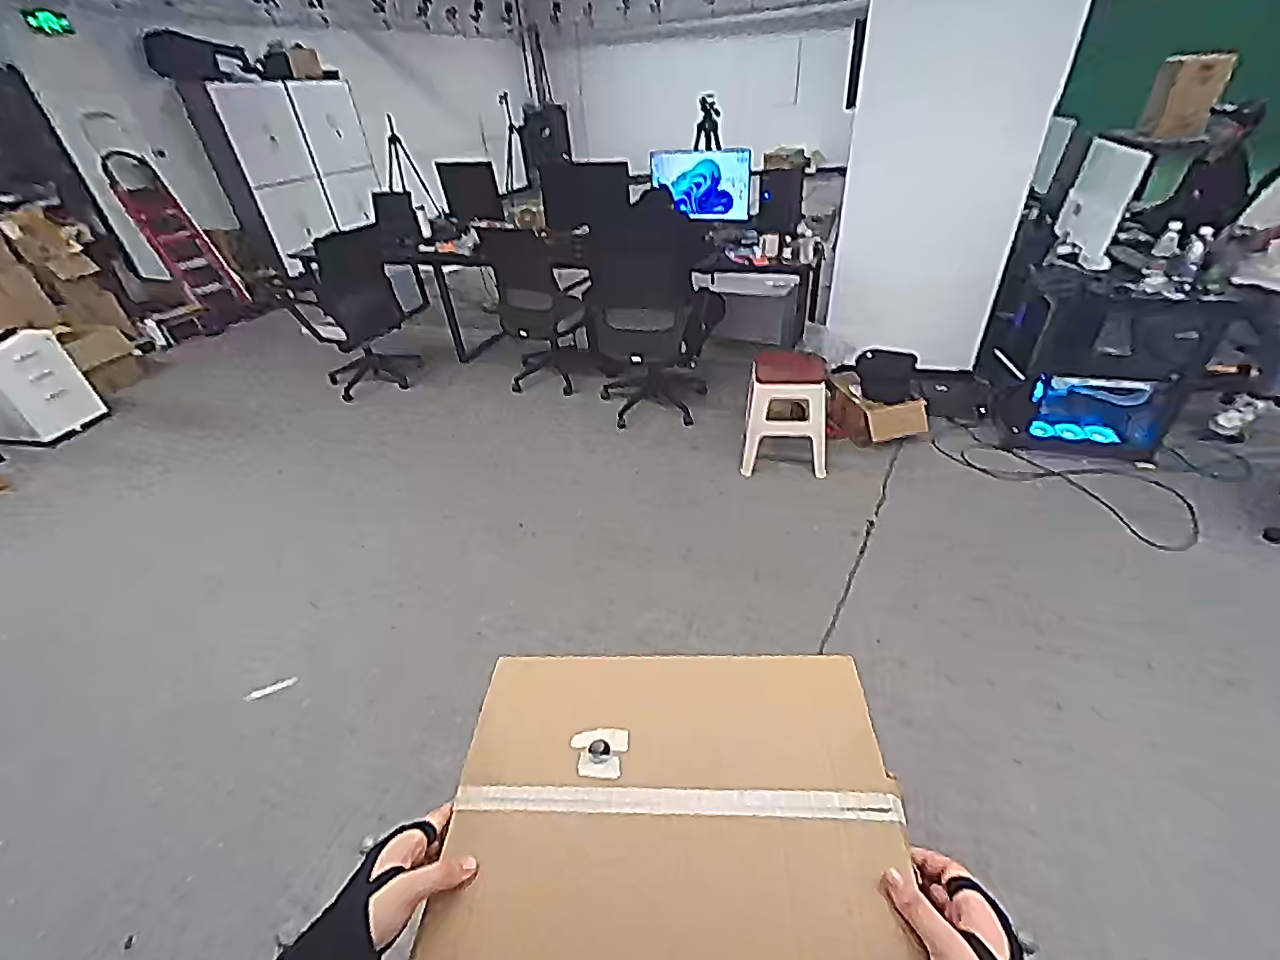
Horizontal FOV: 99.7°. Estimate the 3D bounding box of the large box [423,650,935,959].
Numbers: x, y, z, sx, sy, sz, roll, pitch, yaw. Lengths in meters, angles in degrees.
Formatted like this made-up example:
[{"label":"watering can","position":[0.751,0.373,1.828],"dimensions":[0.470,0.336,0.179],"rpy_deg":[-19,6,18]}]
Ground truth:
[{"label":"large box","position":[0.047,0.416,0.598],"dimensions":[0.408,0.320,0.320],"rpy_deg":[-4,37,7]}]
